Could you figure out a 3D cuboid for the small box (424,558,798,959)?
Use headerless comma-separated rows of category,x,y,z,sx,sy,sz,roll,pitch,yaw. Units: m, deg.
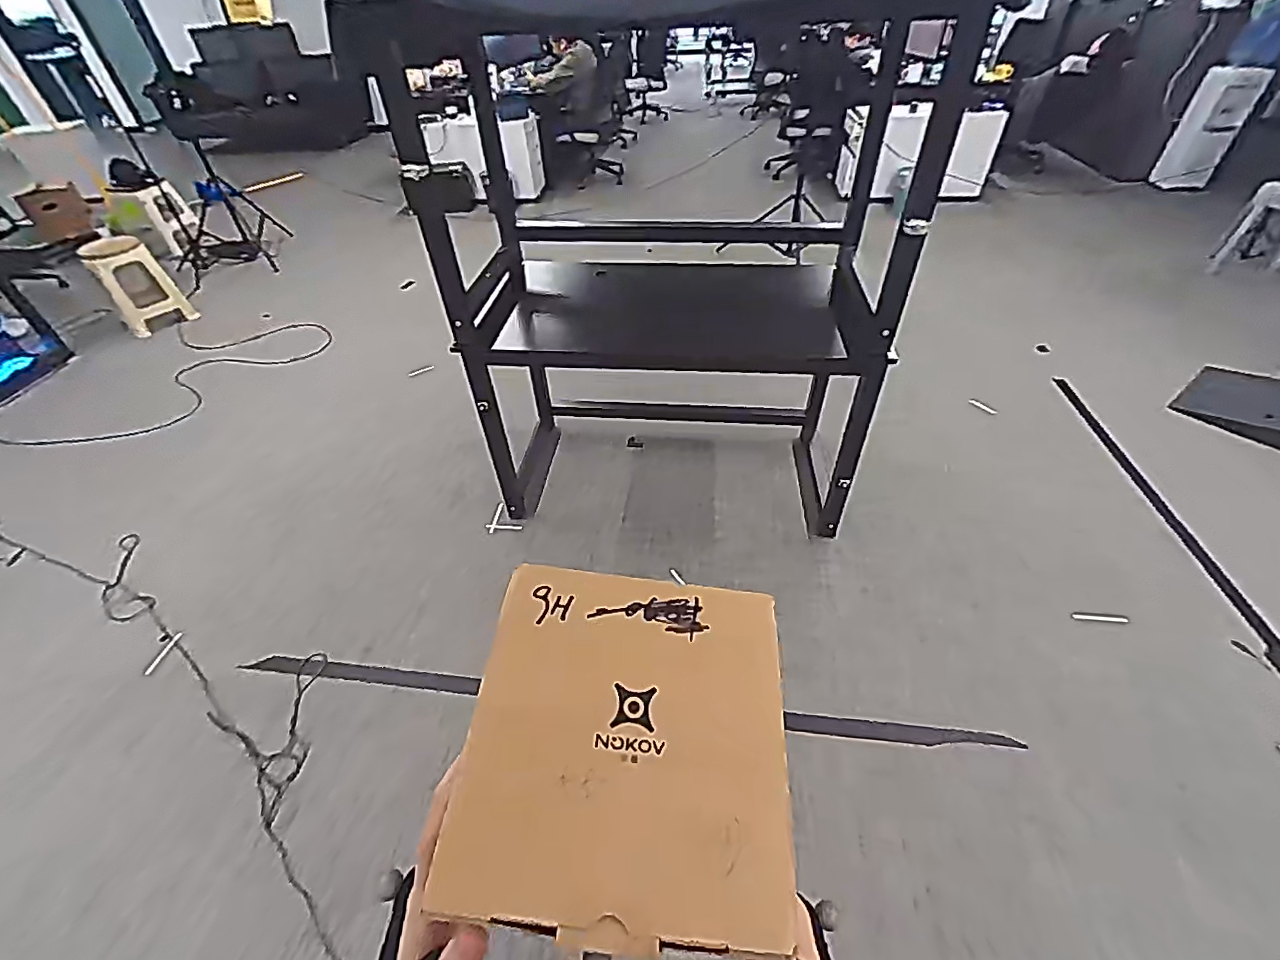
small box,-0.010,0.174,0.343,0.168,0.176,0.179,8,51,0
